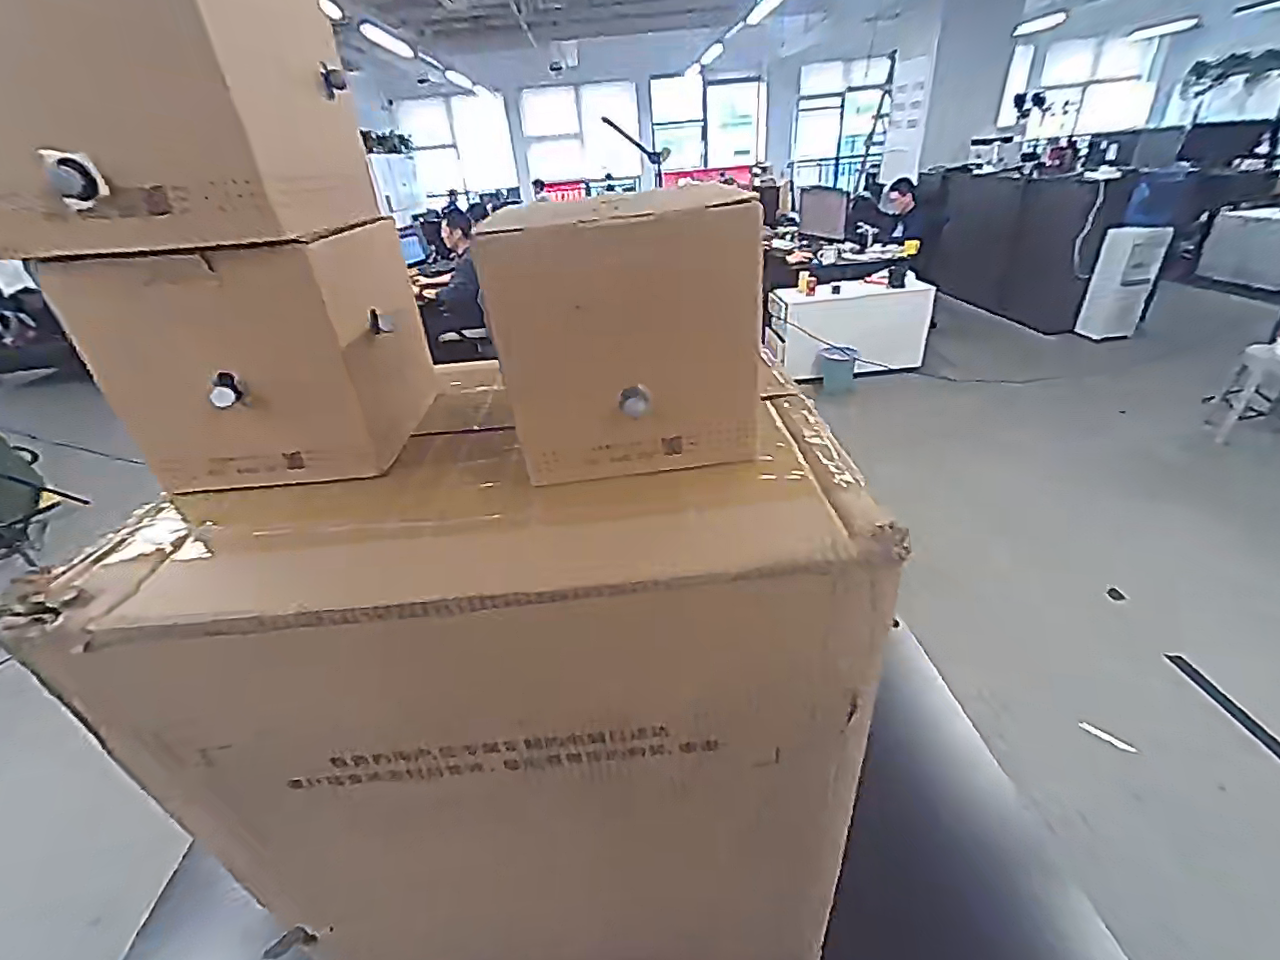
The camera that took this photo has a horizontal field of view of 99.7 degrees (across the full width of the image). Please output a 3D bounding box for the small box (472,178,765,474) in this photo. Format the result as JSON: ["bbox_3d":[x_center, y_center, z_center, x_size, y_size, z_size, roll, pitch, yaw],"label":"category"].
[{"bbox_3d":[-0.009,-0.122,0.409,0.168,0.176,0.179,-7,32,0],"label":"small box"}]

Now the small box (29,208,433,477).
[{"bbox_3d":[-0.283,-0.111,0.434,0.168,0.176,0.179,-5,31,-2],"label":"small box"}]

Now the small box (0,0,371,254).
[{"bbox_3d":[-0.294,-0.244,0.338,0.168,0.176,0.179,-7,31,-2],"label":"small box"}]
